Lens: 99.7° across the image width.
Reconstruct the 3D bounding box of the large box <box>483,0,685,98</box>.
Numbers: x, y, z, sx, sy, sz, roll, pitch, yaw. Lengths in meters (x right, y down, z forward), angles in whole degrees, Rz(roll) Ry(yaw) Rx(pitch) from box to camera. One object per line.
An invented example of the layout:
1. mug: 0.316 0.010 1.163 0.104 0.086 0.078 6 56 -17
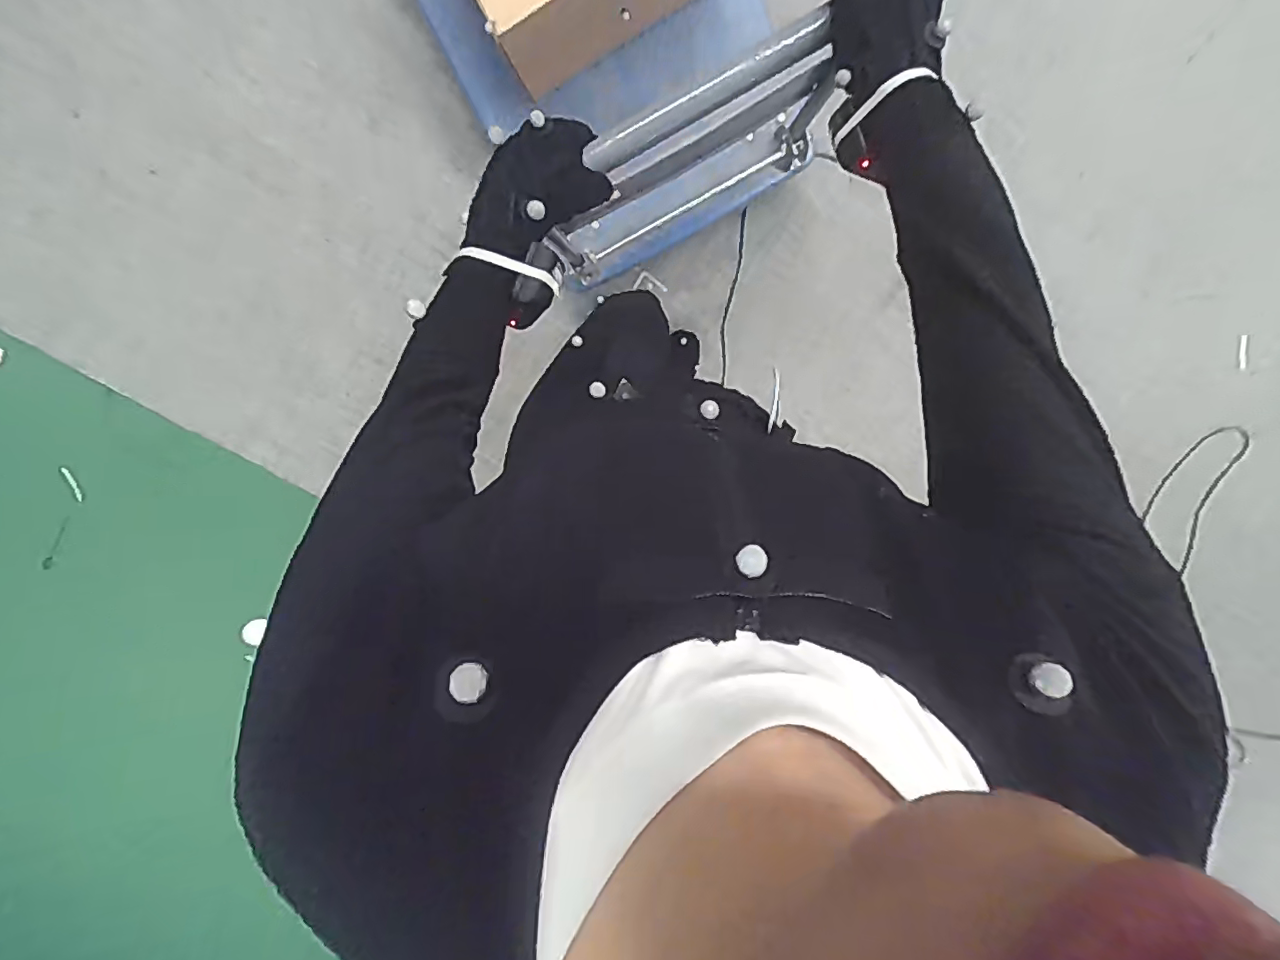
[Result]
1. large box: -0.097 -0.913 0.853 0.408 0.320 0.320 -28 107 10
